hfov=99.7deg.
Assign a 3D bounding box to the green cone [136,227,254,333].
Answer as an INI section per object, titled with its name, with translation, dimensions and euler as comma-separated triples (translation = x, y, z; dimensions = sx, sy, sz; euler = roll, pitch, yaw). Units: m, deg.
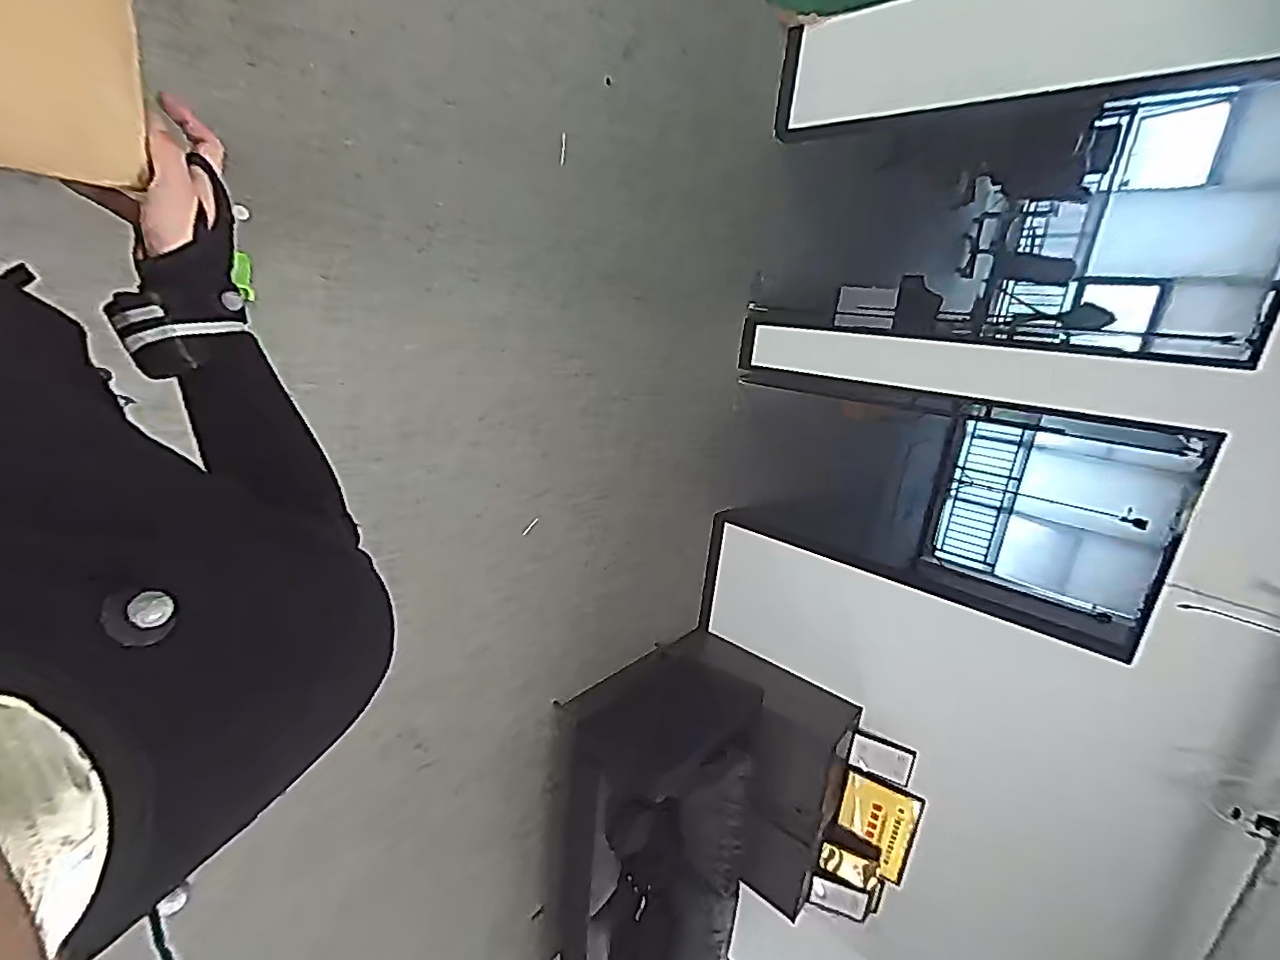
[green cone]
translation = -0.892, -0.411, 1.140
dimensions = 0.200, 0.368, 0.202
euler = -4, 107, -51
